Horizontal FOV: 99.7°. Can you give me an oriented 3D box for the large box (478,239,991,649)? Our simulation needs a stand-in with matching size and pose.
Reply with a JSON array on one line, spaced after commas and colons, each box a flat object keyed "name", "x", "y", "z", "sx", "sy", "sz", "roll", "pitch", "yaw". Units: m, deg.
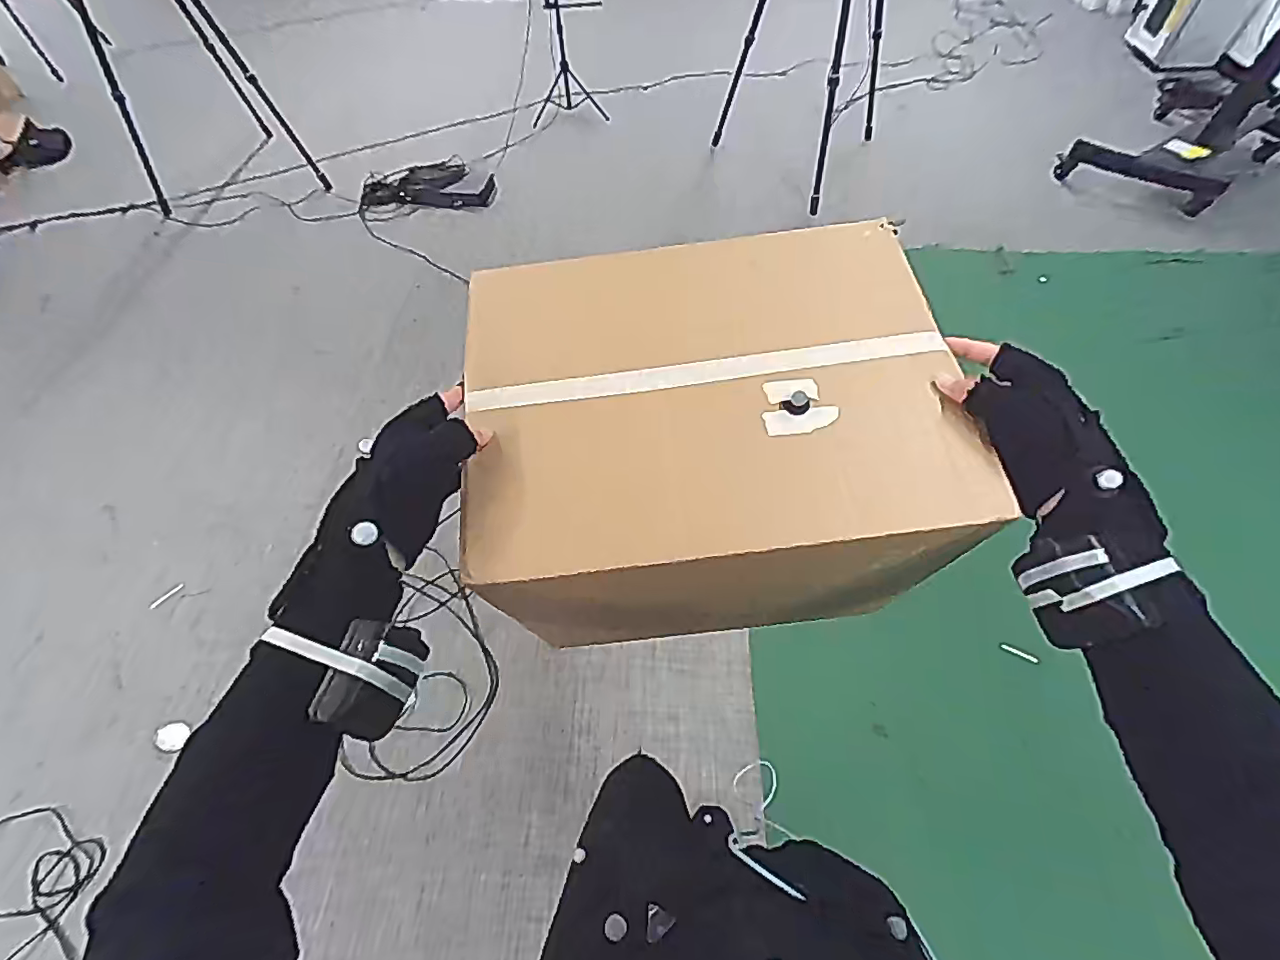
[{"name": "large box", "x": 0.063, "y": -0.016, "z": 0.607, "sx": 0.408, "sy": 0.320, "sz": 0.320, "roll": -7, "pitch": 64, "yaw": 0}]
